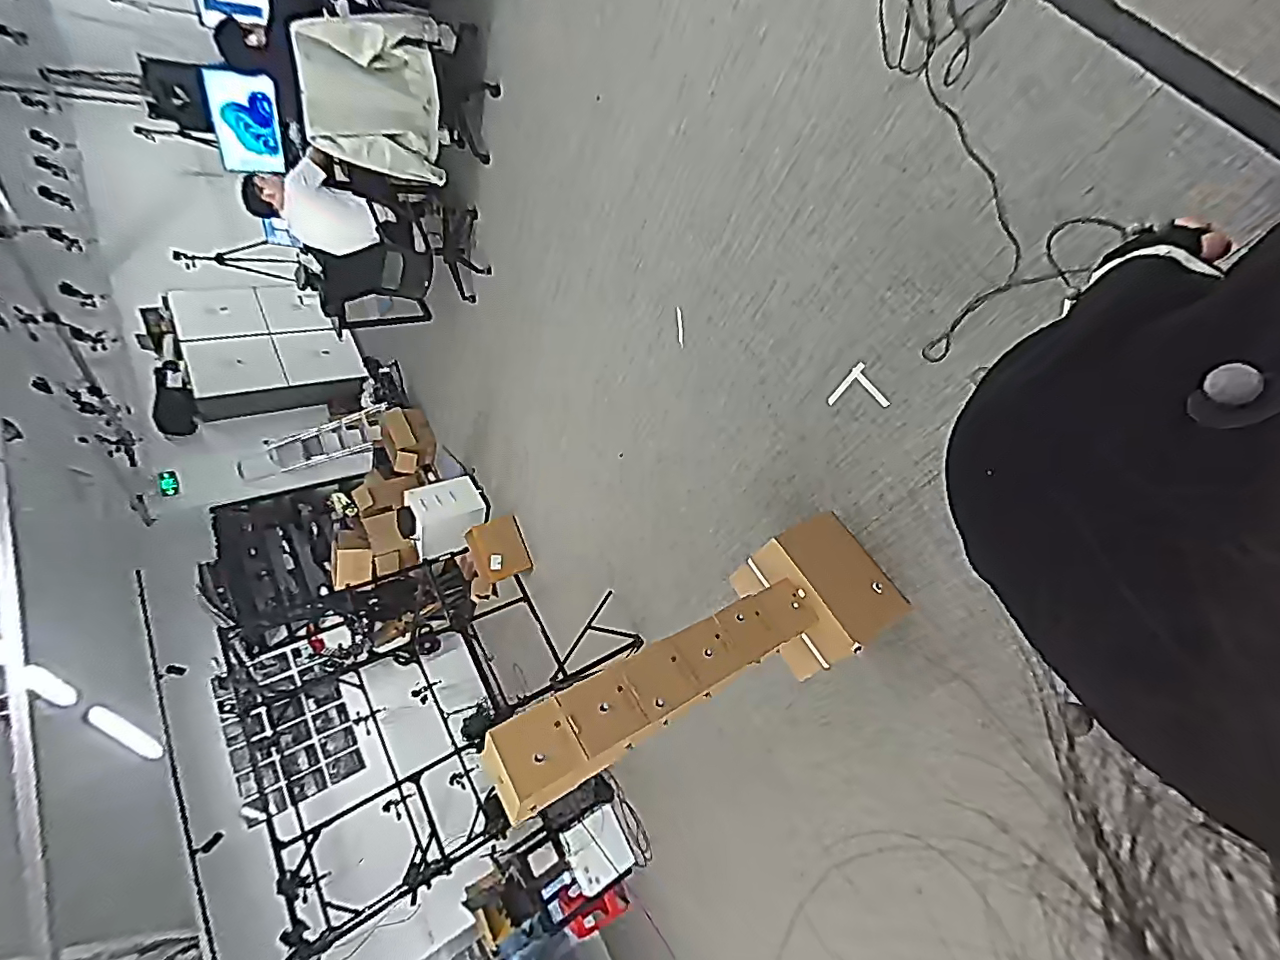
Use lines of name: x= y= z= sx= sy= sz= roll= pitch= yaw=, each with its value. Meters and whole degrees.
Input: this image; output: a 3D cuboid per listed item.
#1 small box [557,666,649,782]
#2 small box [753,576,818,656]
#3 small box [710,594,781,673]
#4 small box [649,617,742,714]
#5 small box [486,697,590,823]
small box: x=-0.101 y=0.585 z=1.311 sx=0.168 sy=0.176 sz=0.179 roll=51 pitch=139 yaw=30
small box: x=0.415 y=0.428 z=1.682 sx=0.168 sy=0.176 sz=0.179 roll=56 pitch=142 yaw=23
small box: x=0.286 y=0.462 z=1.589 sx=0.168 sy=0.176 sz=0.179 roll=56 pitch=143 yaw=25
small box: x=0.157 y=0.508 z=1.497 sx=0.168 sy=0.176 sz=0.179 roll=53 pitch=141 yaw=28
small box: x=-0.231 y=0.626 z=1.222 sx=0.168 sy=0.176 sz=0.179 roll=50 pitch=140 yaw=30
